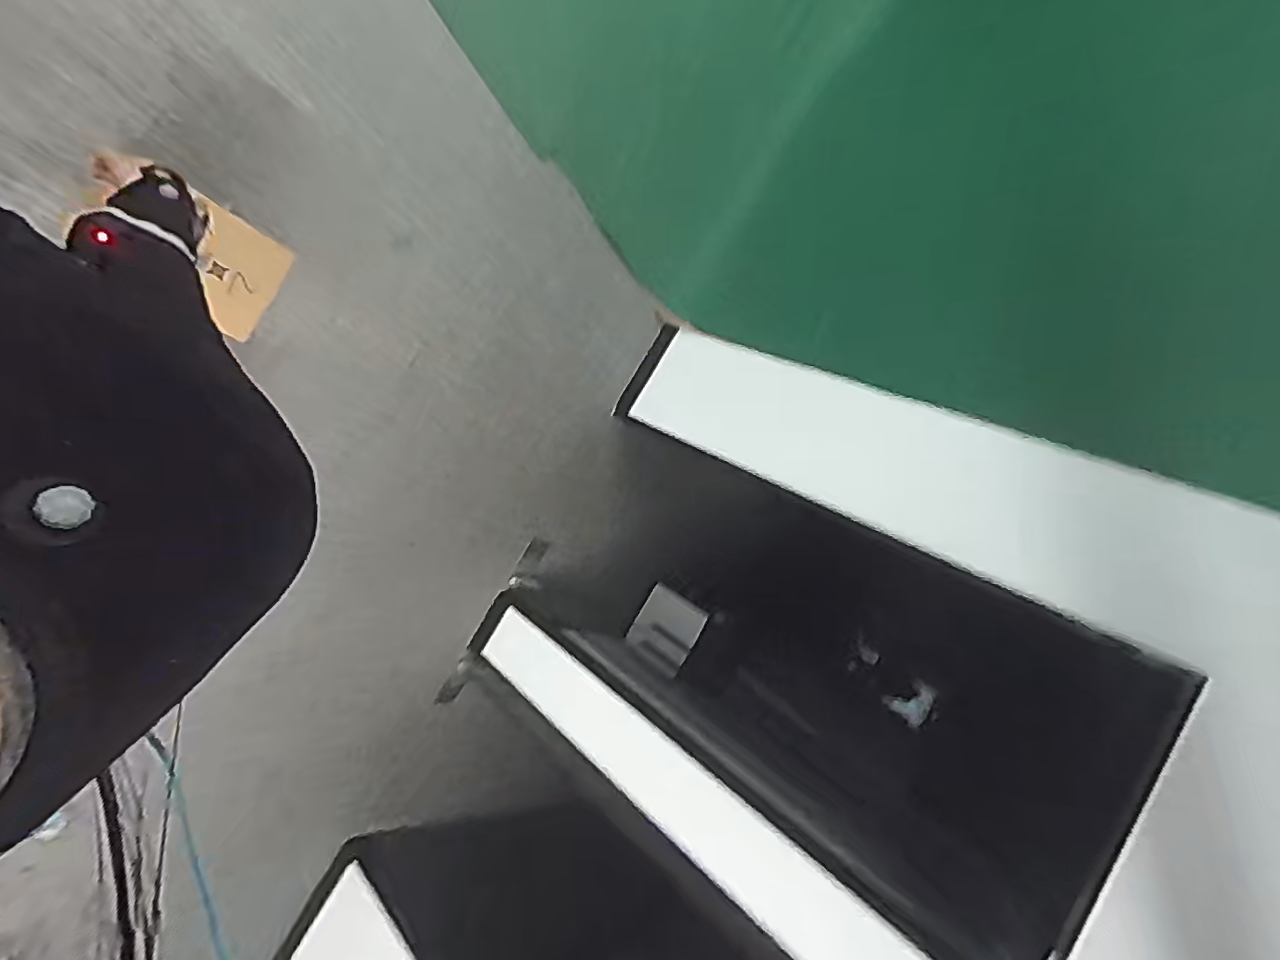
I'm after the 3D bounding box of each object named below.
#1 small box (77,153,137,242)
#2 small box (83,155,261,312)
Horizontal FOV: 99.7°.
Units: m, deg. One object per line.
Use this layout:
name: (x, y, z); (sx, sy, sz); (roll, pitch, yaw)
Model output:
small box: (-0.923, -0.488, 1.032); (0.179, 0.176, 0.168); (-61, 147, -2)
small box: (-0.809, -0.424, 0.933); (0.179, 0.176, 0.168); (-62, 147, -3)
